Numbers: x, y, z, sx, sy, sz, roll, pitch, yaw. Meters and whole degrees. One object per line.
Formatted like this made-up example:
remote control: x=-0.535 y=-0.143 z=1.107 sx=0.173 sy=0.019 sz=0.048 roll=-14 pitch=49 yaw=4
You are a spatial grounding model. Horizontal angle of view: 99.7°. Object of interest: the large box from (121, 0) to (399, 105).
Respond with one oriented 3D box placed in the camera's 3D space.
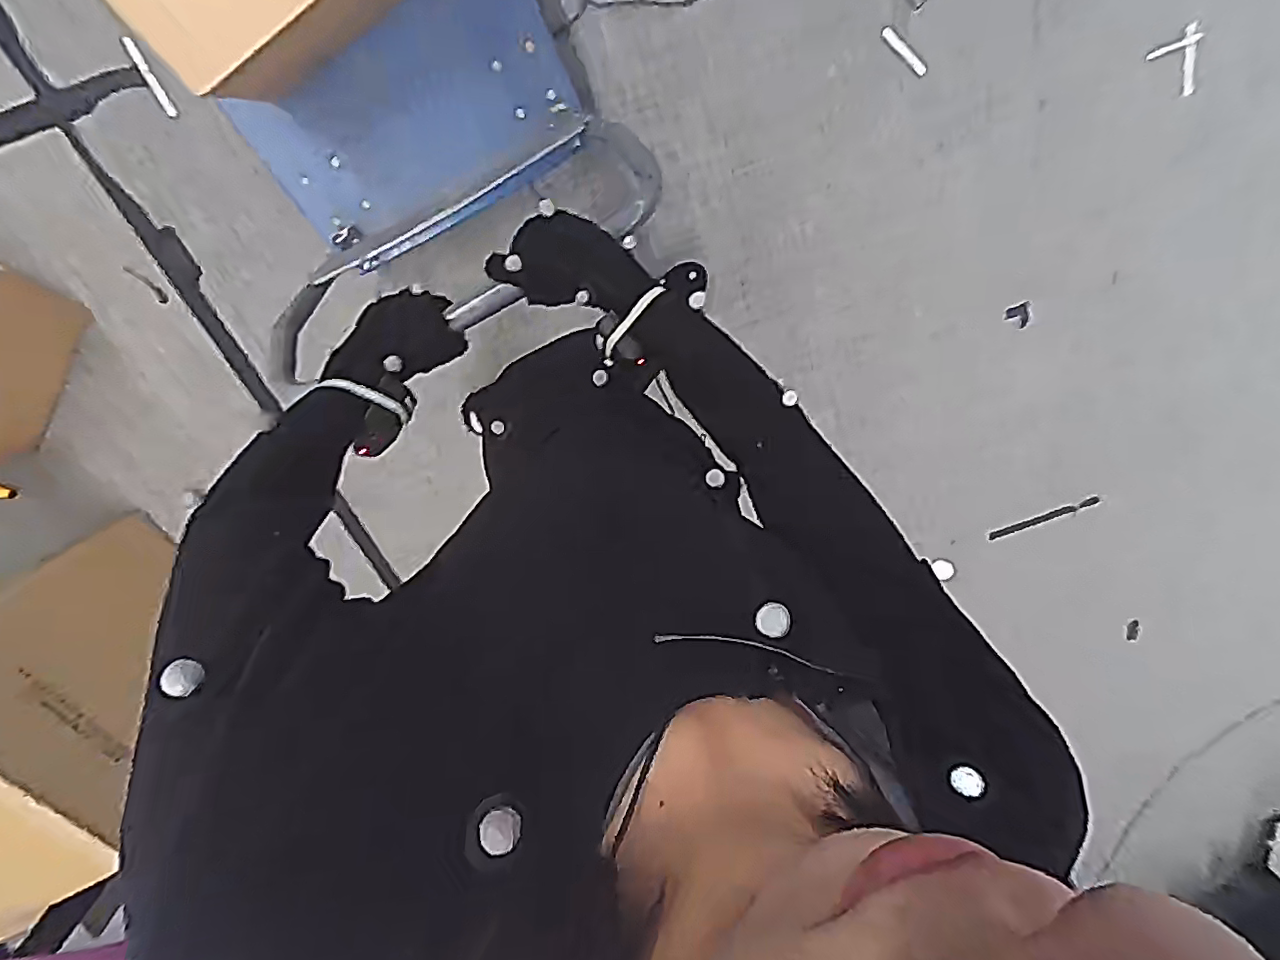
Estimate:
large box: x=-0.527 y=-0.795 z=0.730 sx=0.408 sy=0.320 sz=0.320 roll=-34 pitch=125 yaw=7
